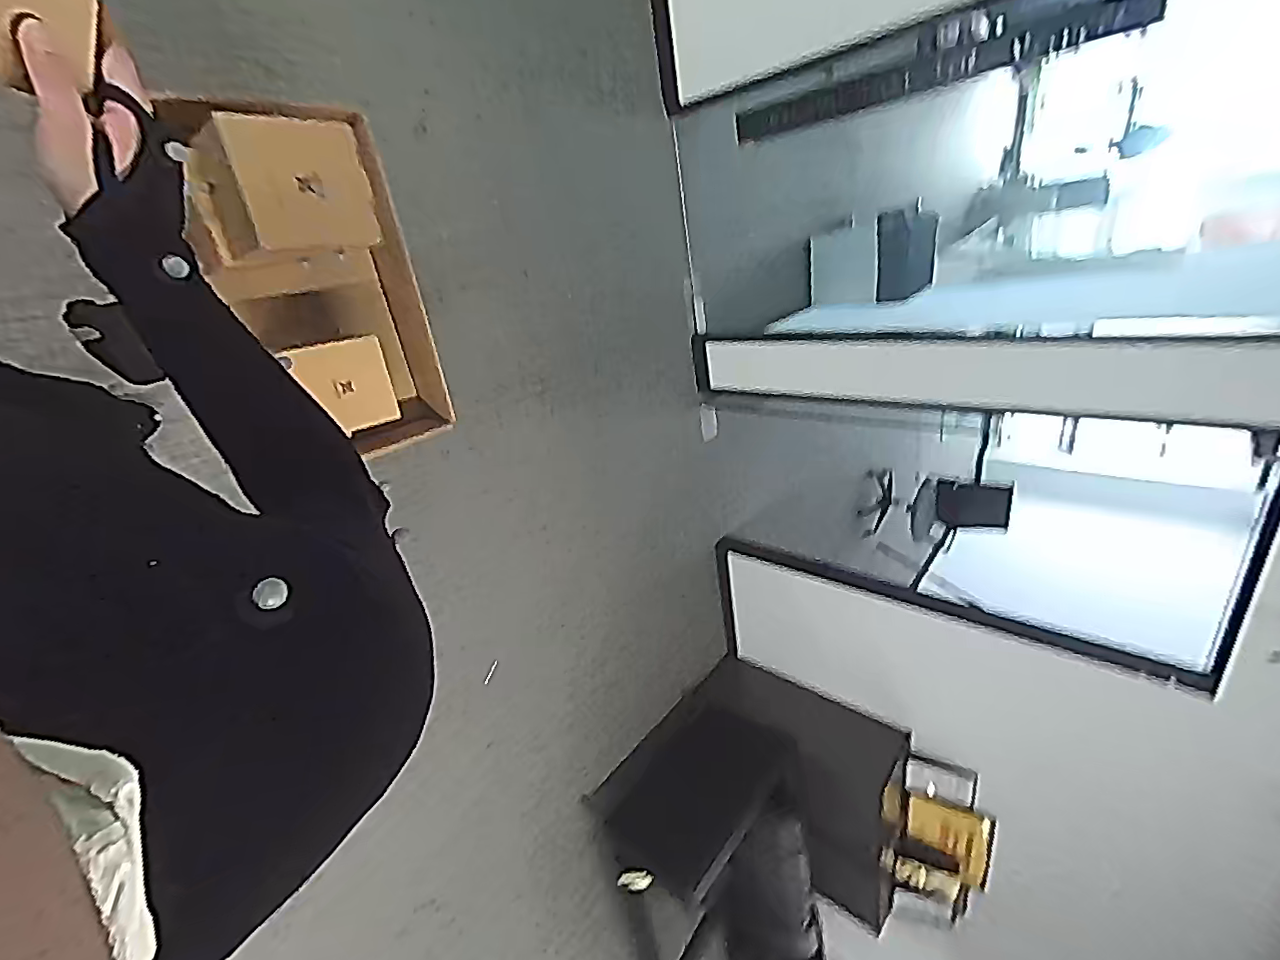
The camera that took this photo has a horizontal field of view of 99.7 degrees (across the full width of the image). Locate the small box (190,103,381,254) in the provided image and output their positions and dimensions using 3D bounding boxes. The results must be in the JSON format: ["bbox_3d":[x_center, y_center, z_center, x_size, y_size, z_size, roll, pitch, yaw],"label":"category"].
[{"bbox_3d":[-0.534,-0.443,0.820,0.179,0.176,0.168,-27,119,-42],"label":"small box"}]
